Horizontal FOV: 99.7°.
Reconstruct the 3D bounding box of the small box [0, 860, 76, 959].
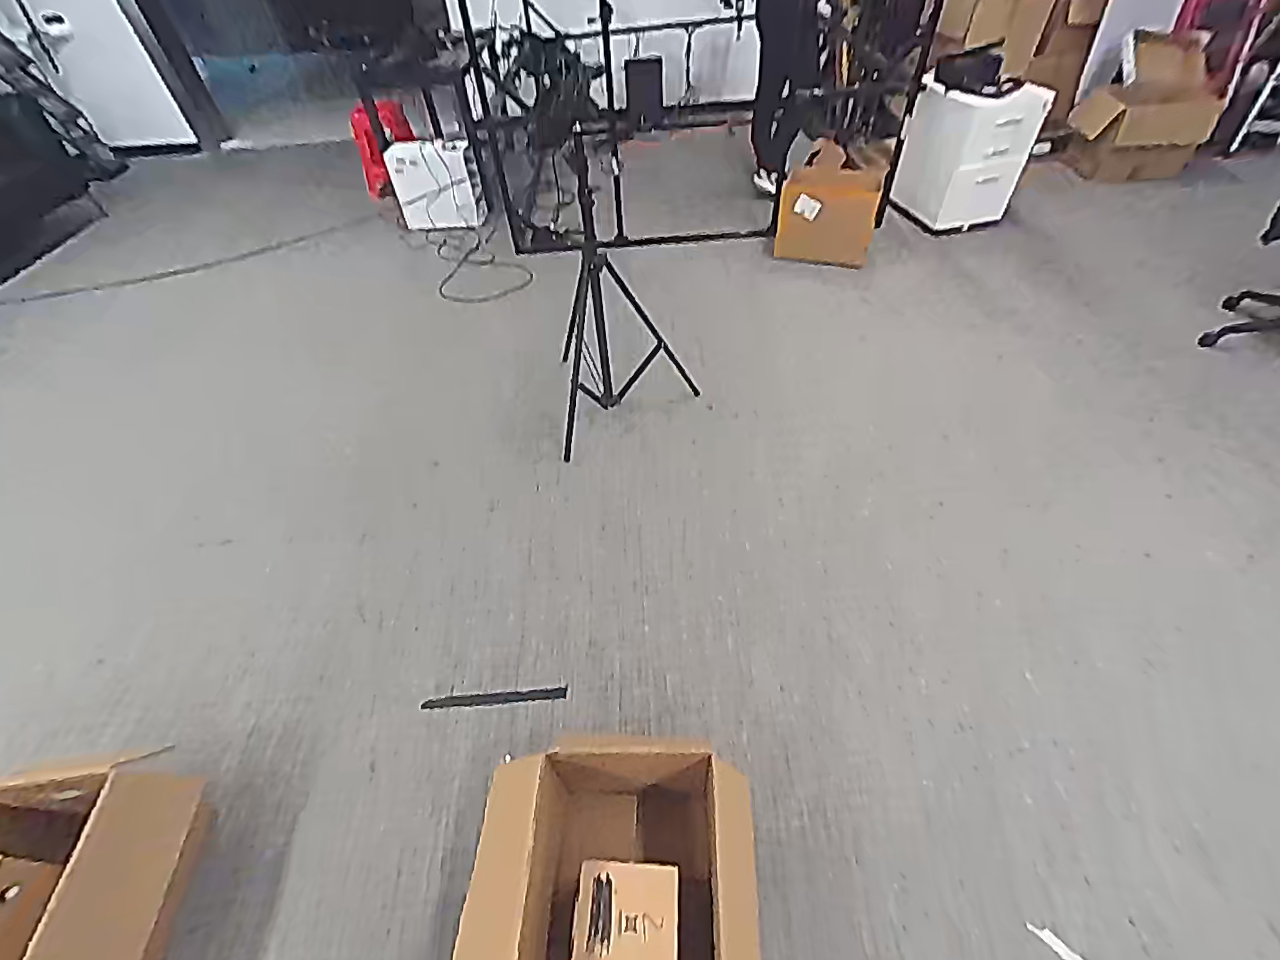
[{"bbox_3d":[-1.090,0.737,0.870,0.168,0.176,0.179,-6,48,0],"label":"small box"}]
